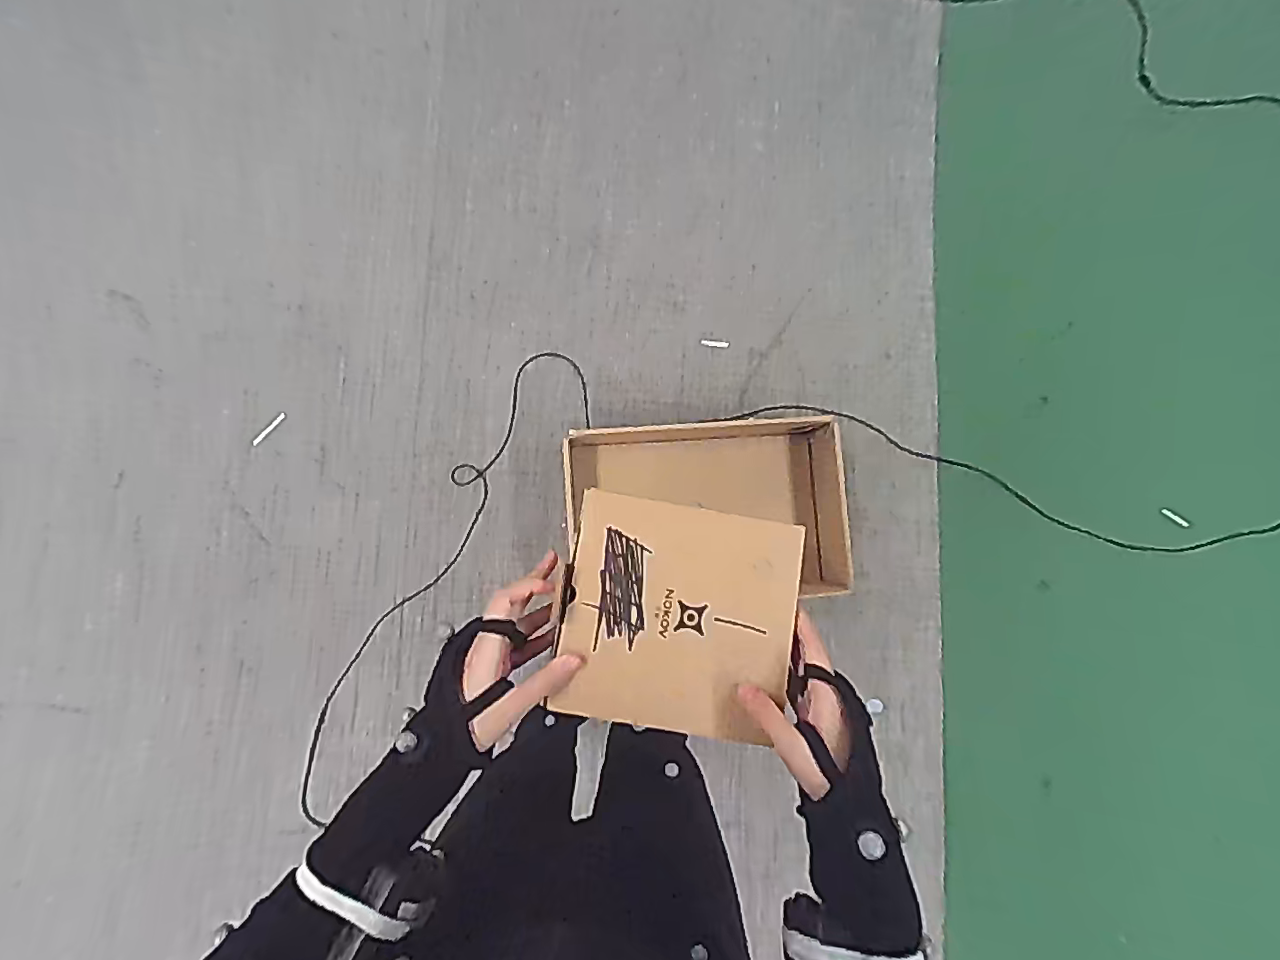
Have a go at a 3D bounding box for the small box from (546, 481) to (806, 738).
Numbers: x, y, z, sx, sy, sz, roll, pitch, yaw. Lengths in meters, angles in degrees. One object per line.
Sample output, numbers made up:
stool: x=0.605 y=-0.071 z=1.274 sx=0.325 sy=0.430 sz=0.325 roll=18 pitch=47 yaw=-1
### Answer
small box: x=0.026 y=0.109 z=0.483 sx=0.179 sy=0.176 sz=0.168 roll=11 pitch=79 yaw=-2
